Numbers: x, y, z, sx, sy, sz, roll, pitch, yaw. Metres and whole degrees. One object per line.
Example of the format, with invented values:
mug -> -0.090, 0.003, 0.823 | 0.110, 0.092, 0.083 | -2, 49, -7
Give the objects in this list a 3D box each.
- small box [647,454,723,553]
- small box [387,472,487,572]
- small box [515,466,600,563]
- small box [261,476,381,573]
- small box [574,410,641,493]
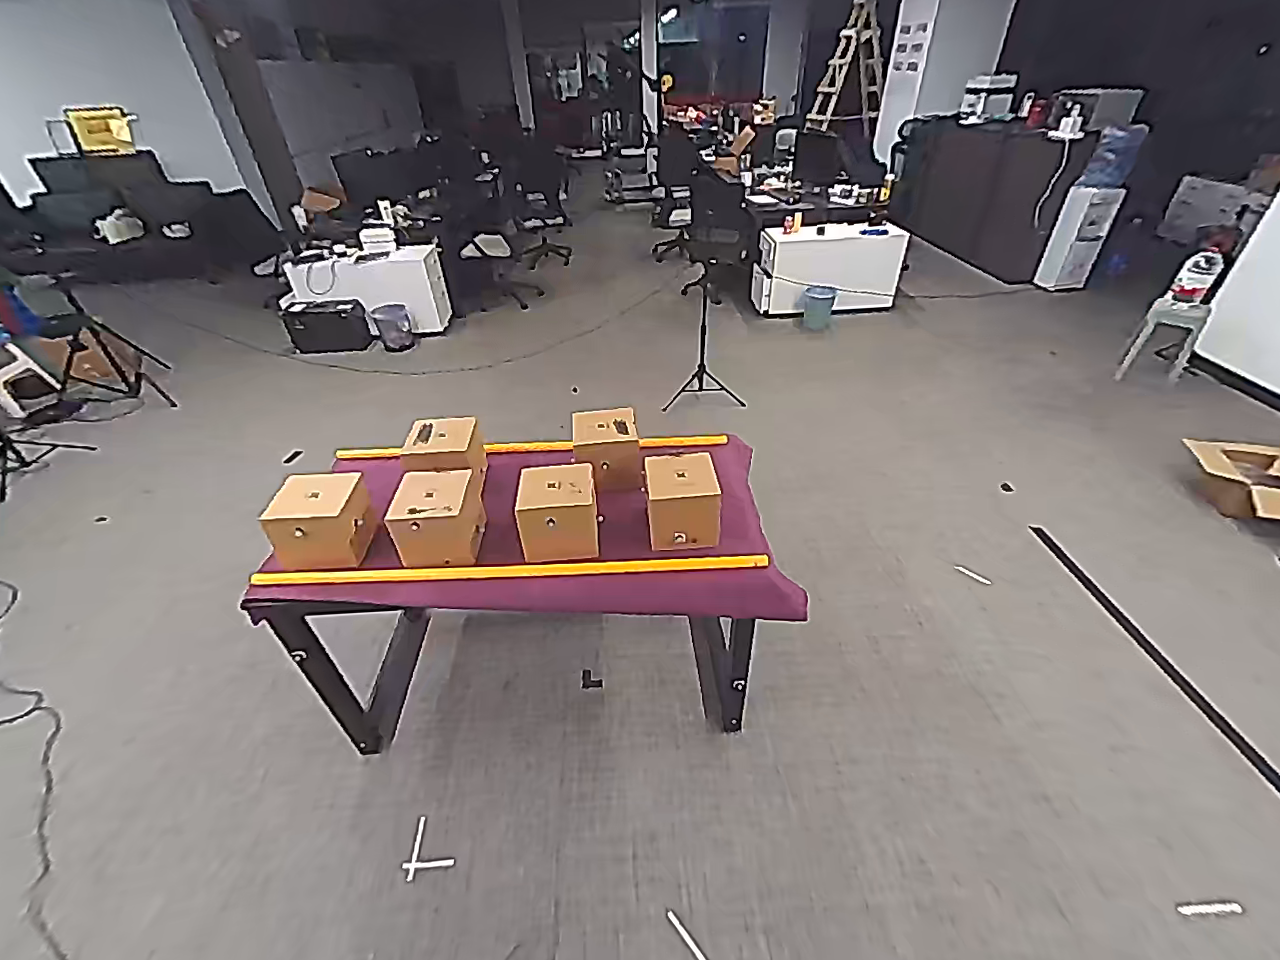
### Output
small box -> 0.105, 0.056, 1.325 | 0.168, 0.176, 0.179 | -5, 35, 0
small box -> -0.478, 0.101, 1.306 | 0.168, 0.176, 0.179 | -4, 37, 0
small box -> -0.192, 0.085, 1.307 | 0.179, 0.176, 0.168 | -4, 36, -2
small box -> -0.758, 0.108, 1.311 | 0.179, 0.176, 0.168 | -3, 37, -2
small box -> -0.089, -0.076, 1.514 | 0.179, 0.176, 0.168 | -6, 38, -2
